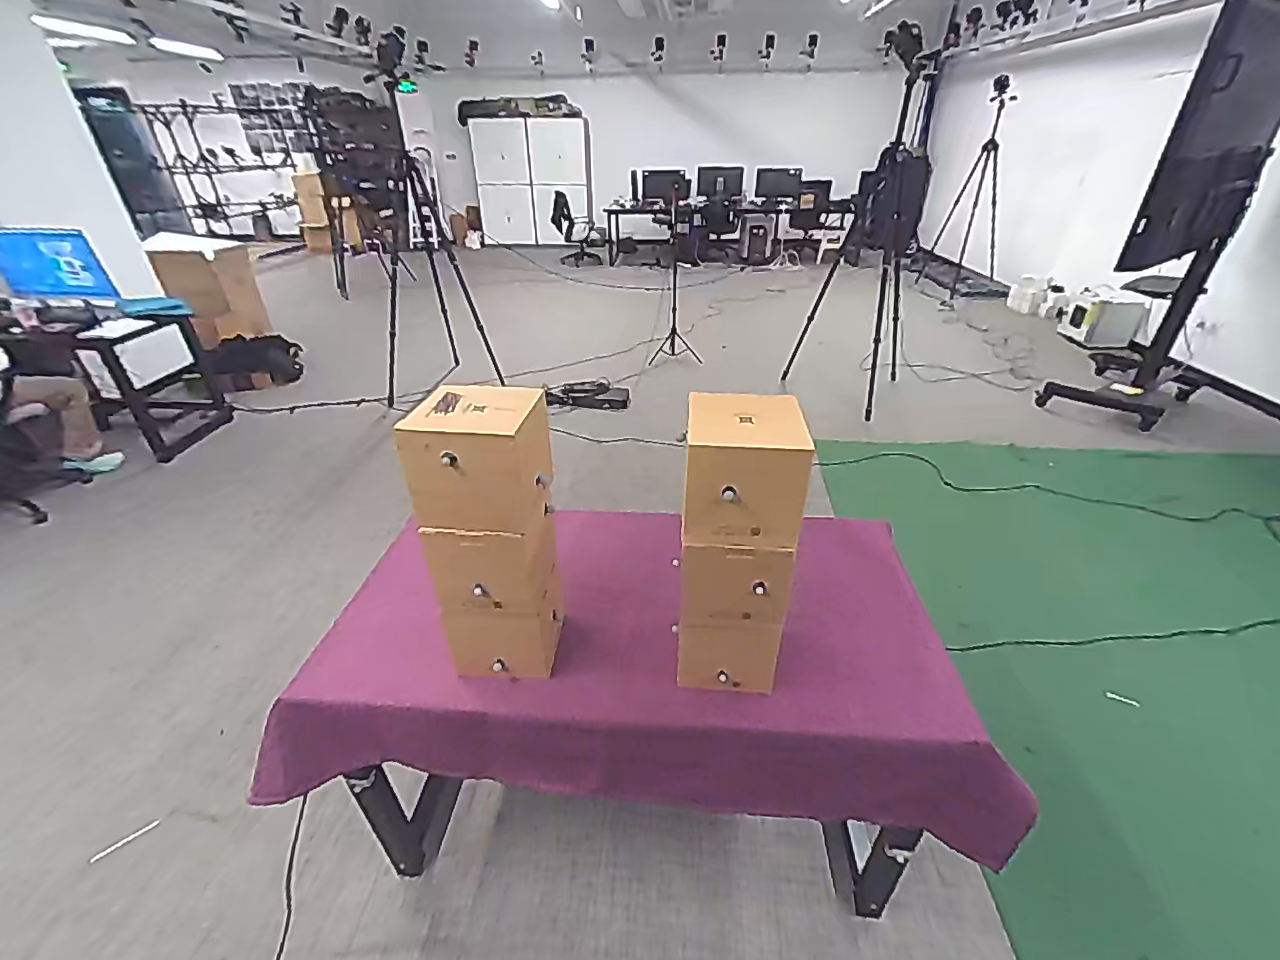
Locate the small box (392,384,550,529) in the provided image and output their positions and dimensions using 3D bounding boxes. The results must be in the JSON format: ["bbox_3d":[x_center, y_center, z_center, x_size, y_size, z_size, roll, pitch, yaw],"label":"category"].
[{"bbox_3d":[-0.248,-0.039,0.842,0.179,0.176,0.168,4,32,5],"label":"small box"}]

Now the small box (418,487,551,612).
[{"bbox_3d":[-0.253,0.100,0.930,0.168,0.176,0.179,2,33,4],"label":"small box"}]

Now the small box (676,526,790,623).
[{"bbox_3d":[0.148,0.117,0.902,0.168,0.176,0.179,2,32,4],"label":"small box"}]

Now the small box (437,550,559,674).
[{"bbox_3d":[-0.253,0.243,1.014,0.179,0.176,0.168,2,32,2],"label":"small box"}]

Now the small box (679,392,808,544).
[{"bbox_3d":[0.146,-0.020,0.815,0.168,0.176,0.179,3,32,4],"label":"small box"}]
